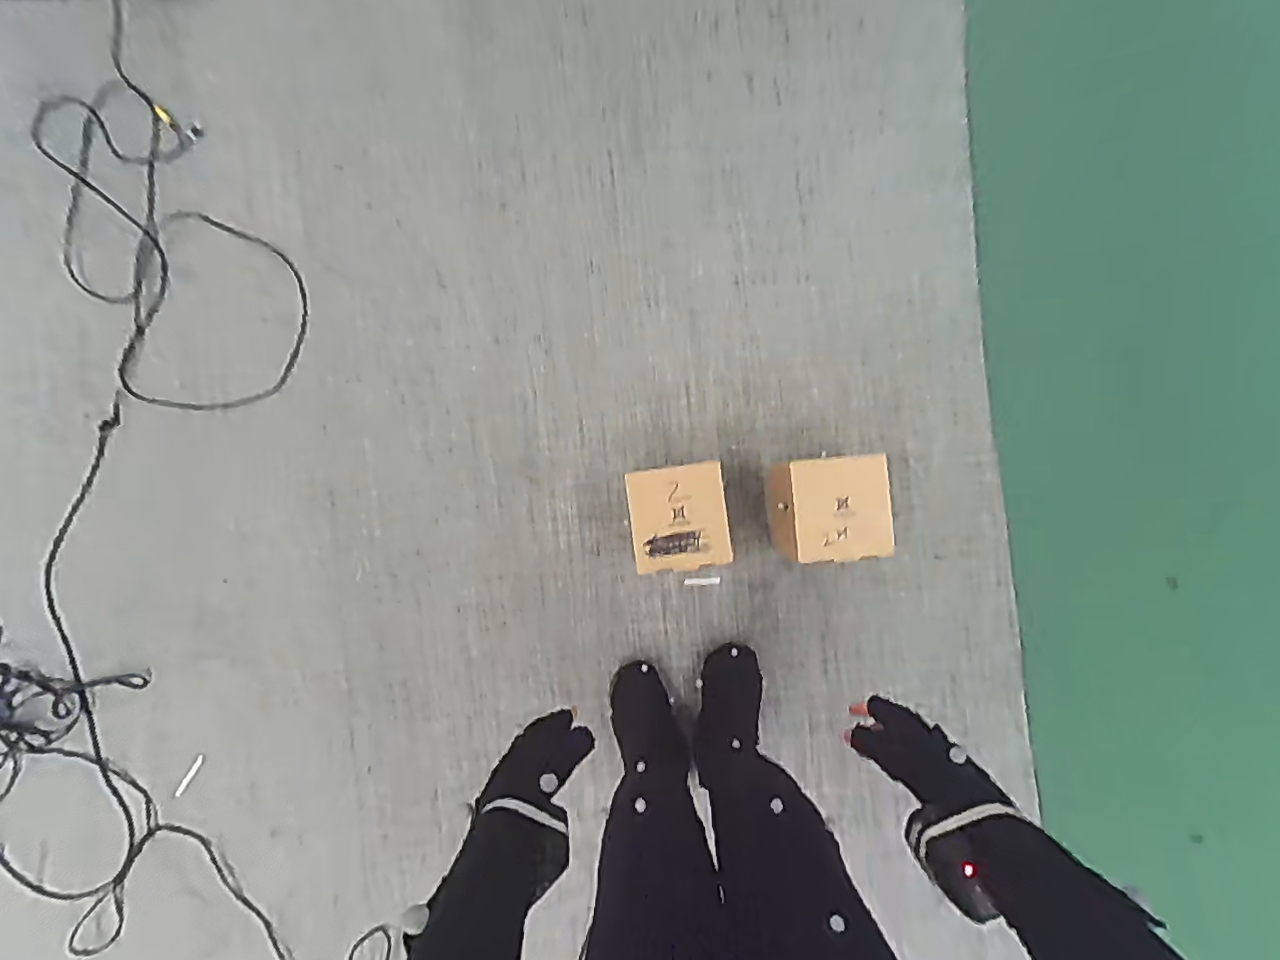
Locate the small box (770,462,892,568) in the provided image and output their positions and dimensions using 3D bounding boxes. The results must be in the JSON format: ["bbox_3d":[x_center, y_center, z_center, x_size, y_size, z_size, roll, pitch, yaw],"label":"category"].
[{"bbox_3d":[0.345,0.064,1.008,0.168,0.176,0.179,-4,88,1],"label":"small box"}]
